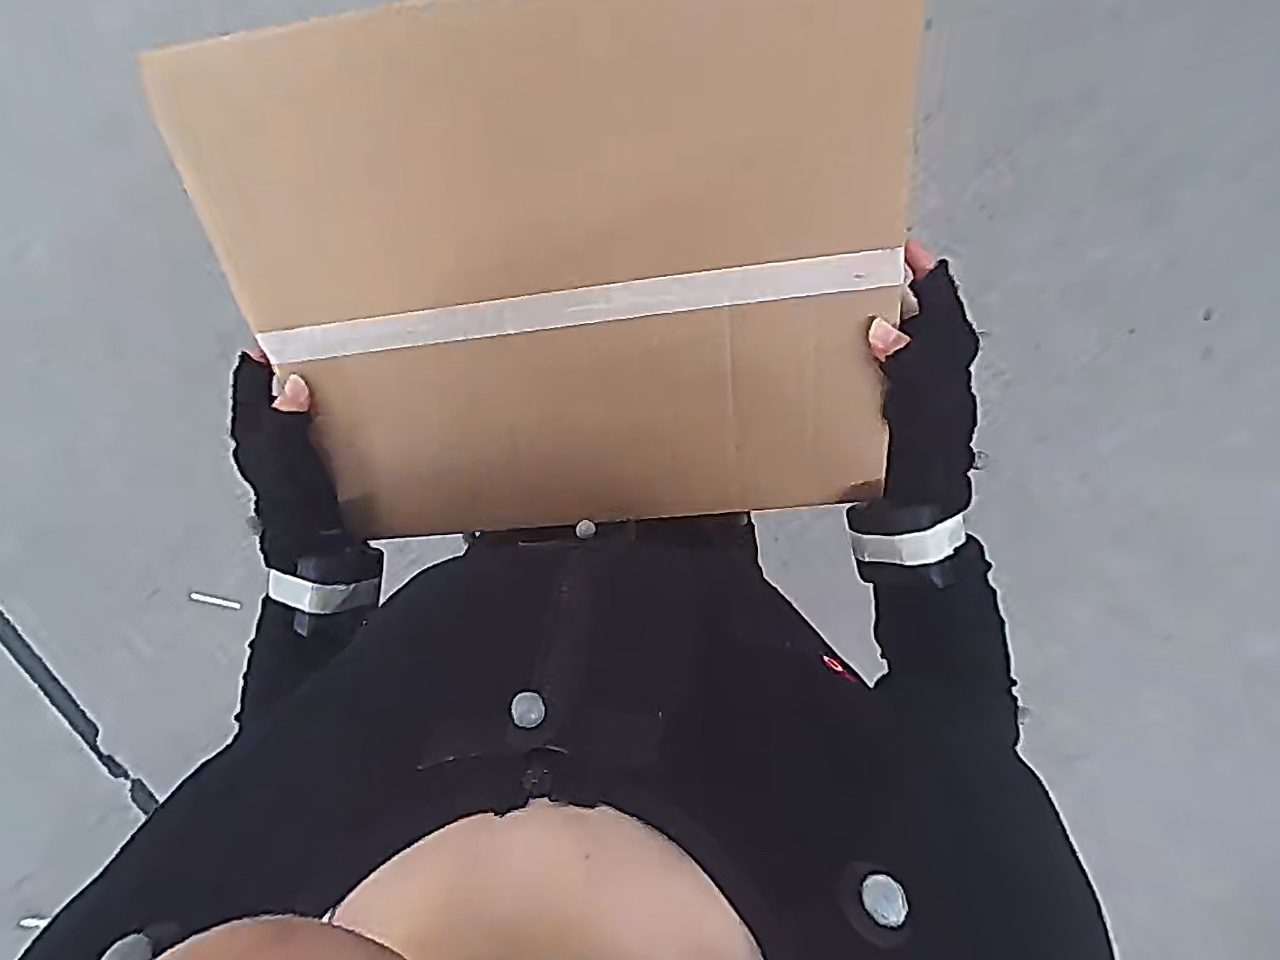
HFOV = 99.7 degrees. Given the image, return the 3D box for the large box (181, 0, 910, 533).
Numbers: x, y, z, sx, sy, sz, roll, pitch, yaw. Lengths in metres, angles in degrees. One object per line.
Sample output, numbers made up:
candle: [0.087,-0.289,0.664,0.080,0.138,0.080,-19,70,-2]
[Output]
large box: [-0.038,-0.179,0.479,0.408,0.320,0.320,-5,119,6]
